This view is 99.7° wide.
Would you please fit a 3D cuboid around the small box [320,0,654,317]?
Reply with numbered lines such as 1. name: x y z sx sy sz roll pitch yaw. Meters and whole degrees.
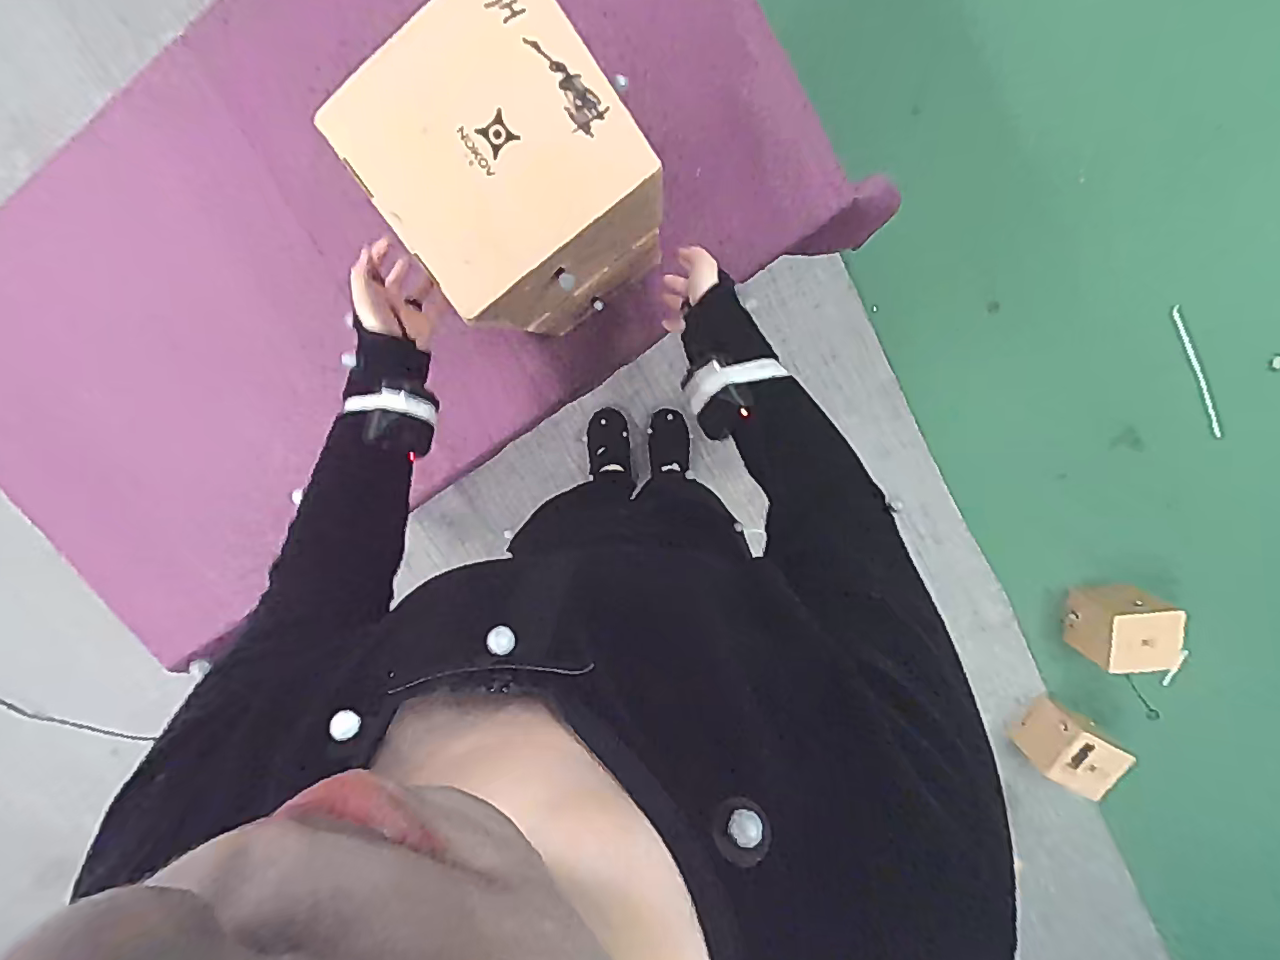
1. small box: -0.100 -0.250 0.443 0.179 0.176 0.168 -34 101 10

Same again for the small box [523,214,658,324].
1. small box: -0.095 -0.291 0.602 0.168 0.176 0.179 -35 101 10

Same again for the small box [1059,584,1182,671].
1. small box: 1.282 0.390 1.453 0.179 0.176 0.168 -5 103 3
